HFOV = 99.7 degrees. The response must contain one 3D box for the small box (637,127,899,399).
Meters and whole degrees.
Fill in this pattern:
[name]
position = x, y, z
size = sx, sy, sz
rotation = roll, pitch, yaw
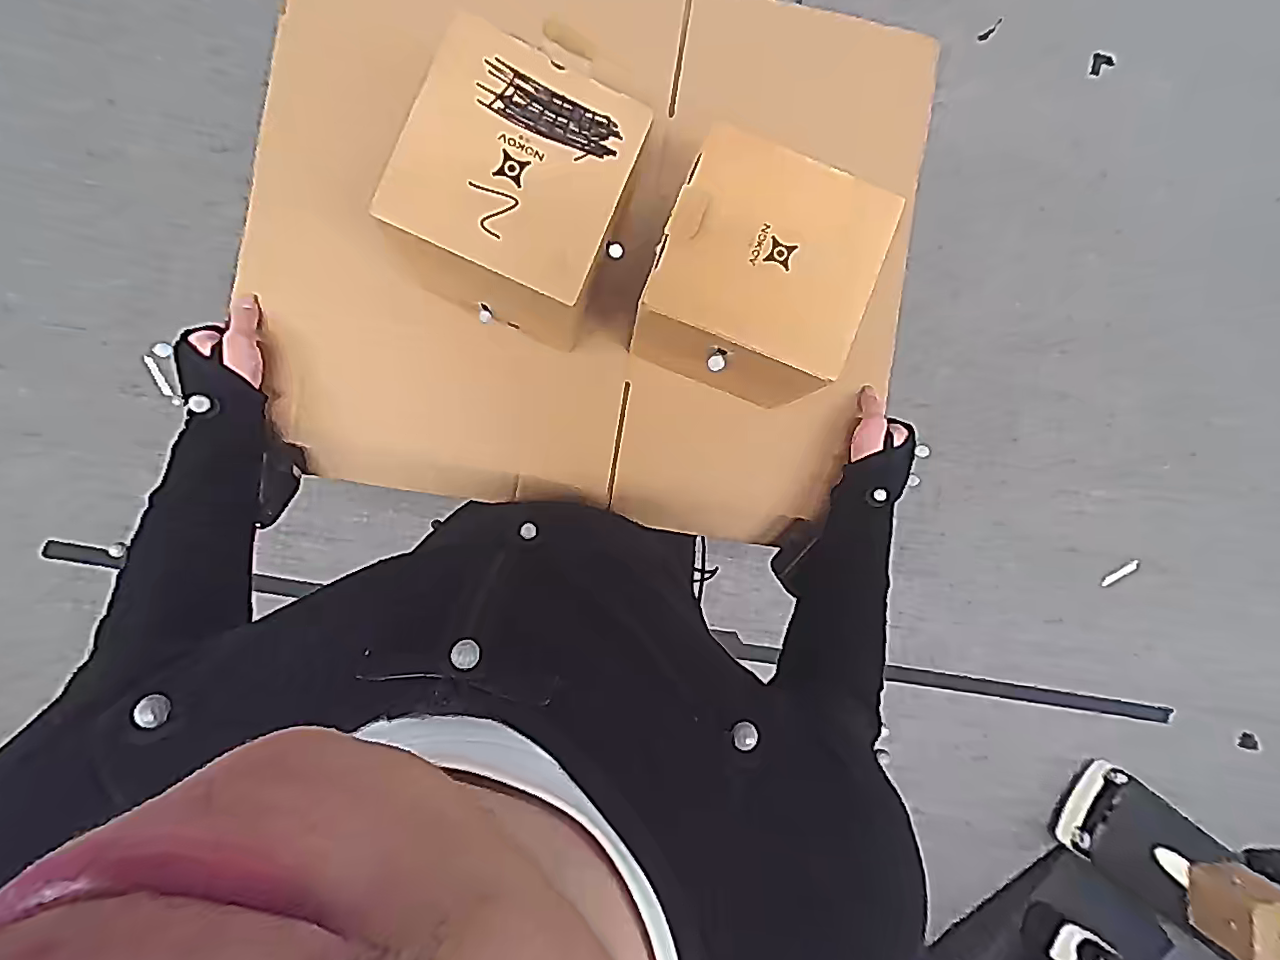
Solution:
[small box]
position = 0.107, -0.189, 0.532
size = 0.179, 0.176, 0.168
rotation = 22, 89, -2
